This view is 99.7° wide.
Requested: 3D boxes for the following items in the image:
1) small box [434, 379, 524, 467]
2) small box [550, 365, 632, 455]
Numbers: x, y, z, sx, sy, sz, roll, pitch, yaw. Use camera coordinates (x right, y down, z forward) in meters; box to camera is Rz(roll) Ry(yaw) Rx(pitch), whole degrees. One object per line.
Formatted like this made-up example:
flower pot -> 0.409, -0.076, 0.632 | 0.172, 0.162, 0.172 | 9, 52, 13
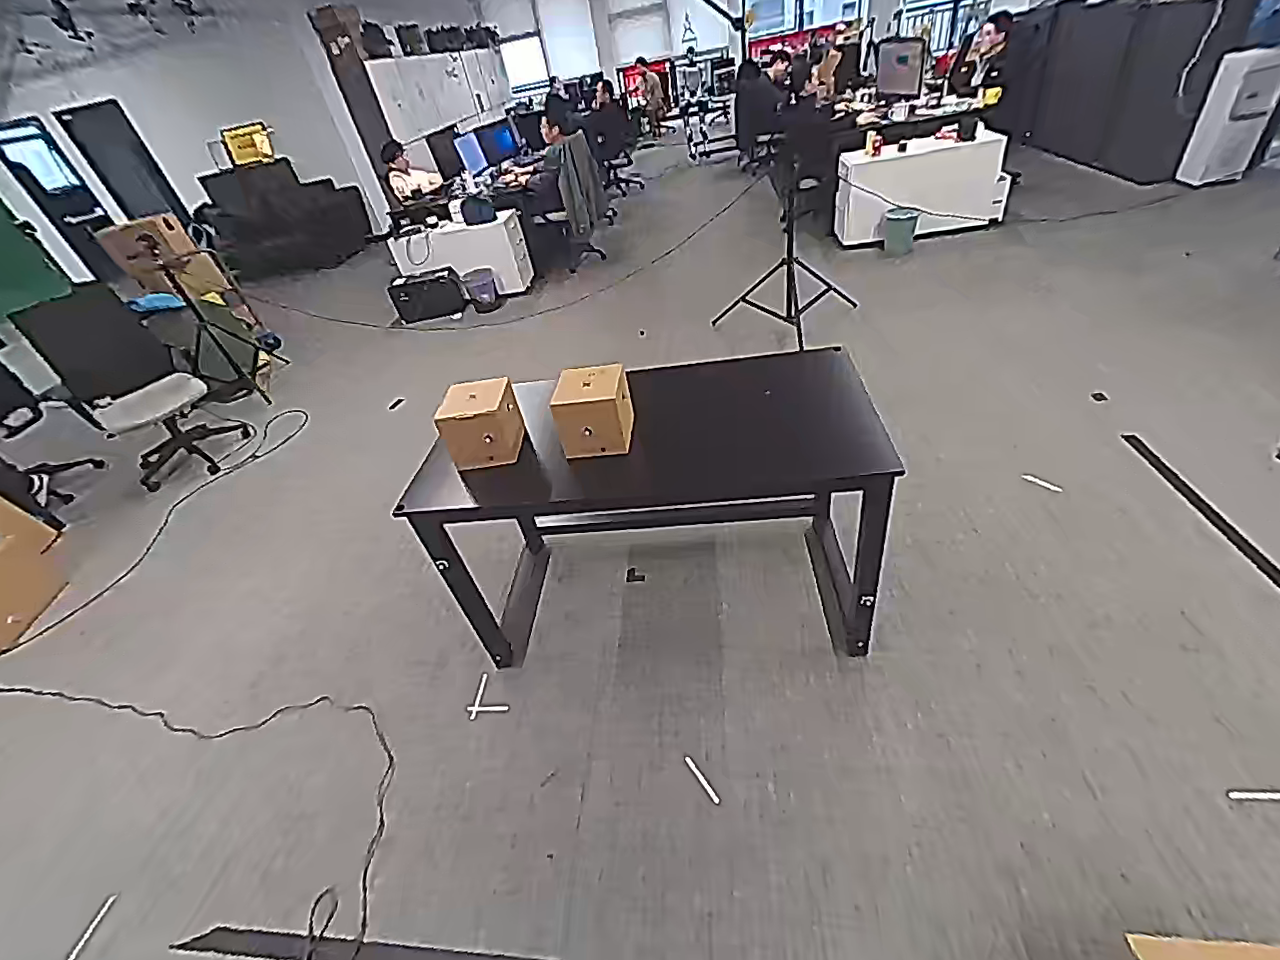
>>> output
small box -> -0.422, -0.147, 1.451 | 0.168, 0.176, 0.179 | -7, 38, 4
small box -> -0.119, -0.176, 1.403 | 0.168, 0.176, 0.179 | -4, 39, 10
